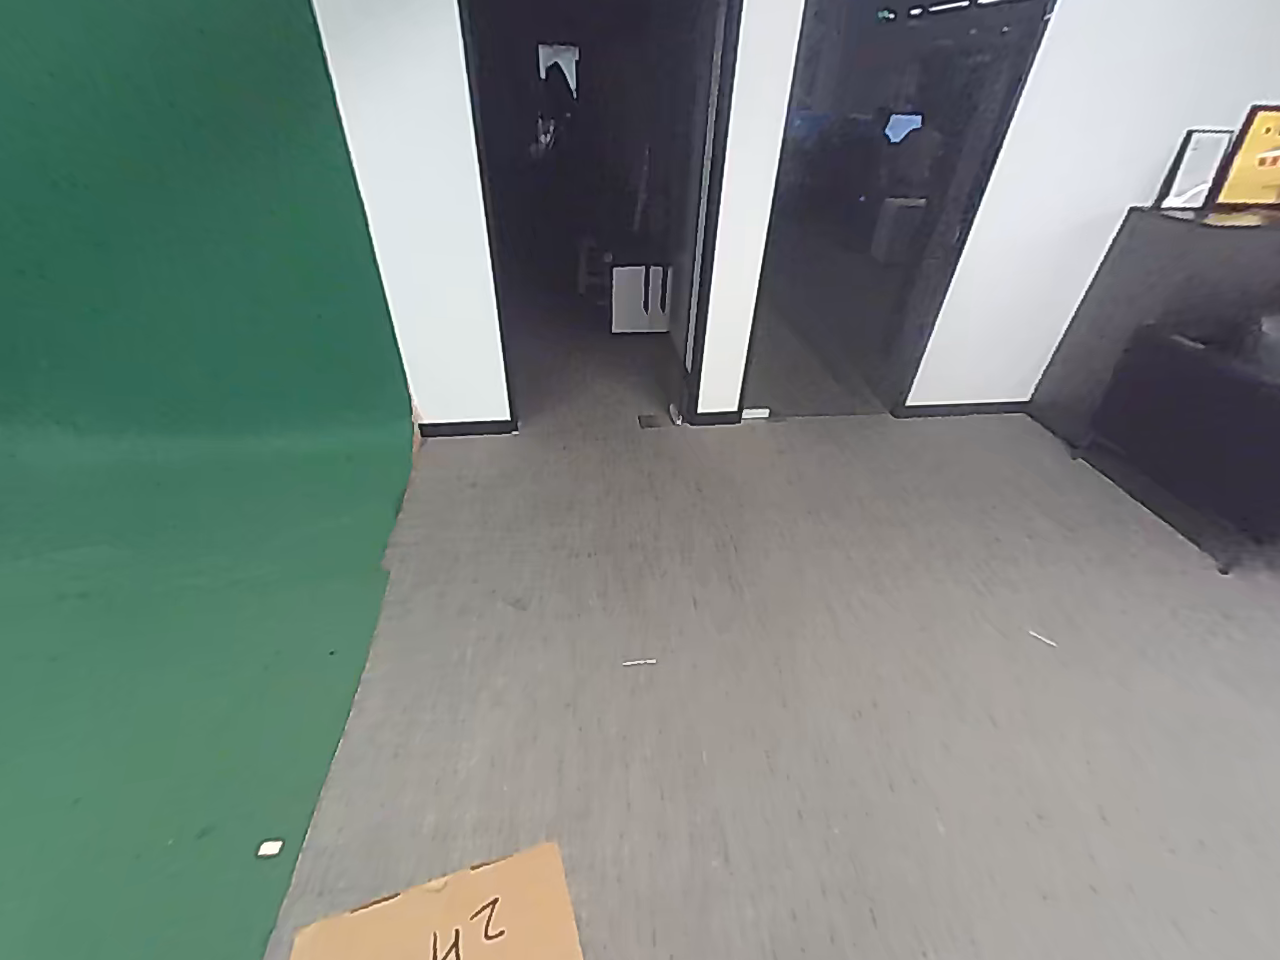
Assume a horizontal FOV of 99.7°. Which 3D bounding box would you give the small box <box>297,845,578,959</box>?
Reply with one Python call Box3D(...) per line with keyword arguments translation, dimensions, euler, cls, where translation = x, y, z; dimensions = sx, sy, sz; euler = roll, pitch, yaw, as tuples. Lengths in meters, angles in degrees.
Box3D(translation=(-0.113, 0.382, 0.333), dimensions=(0.168, 0.176, 0.179), euler=(-7, 28, -19), cls="small box")
